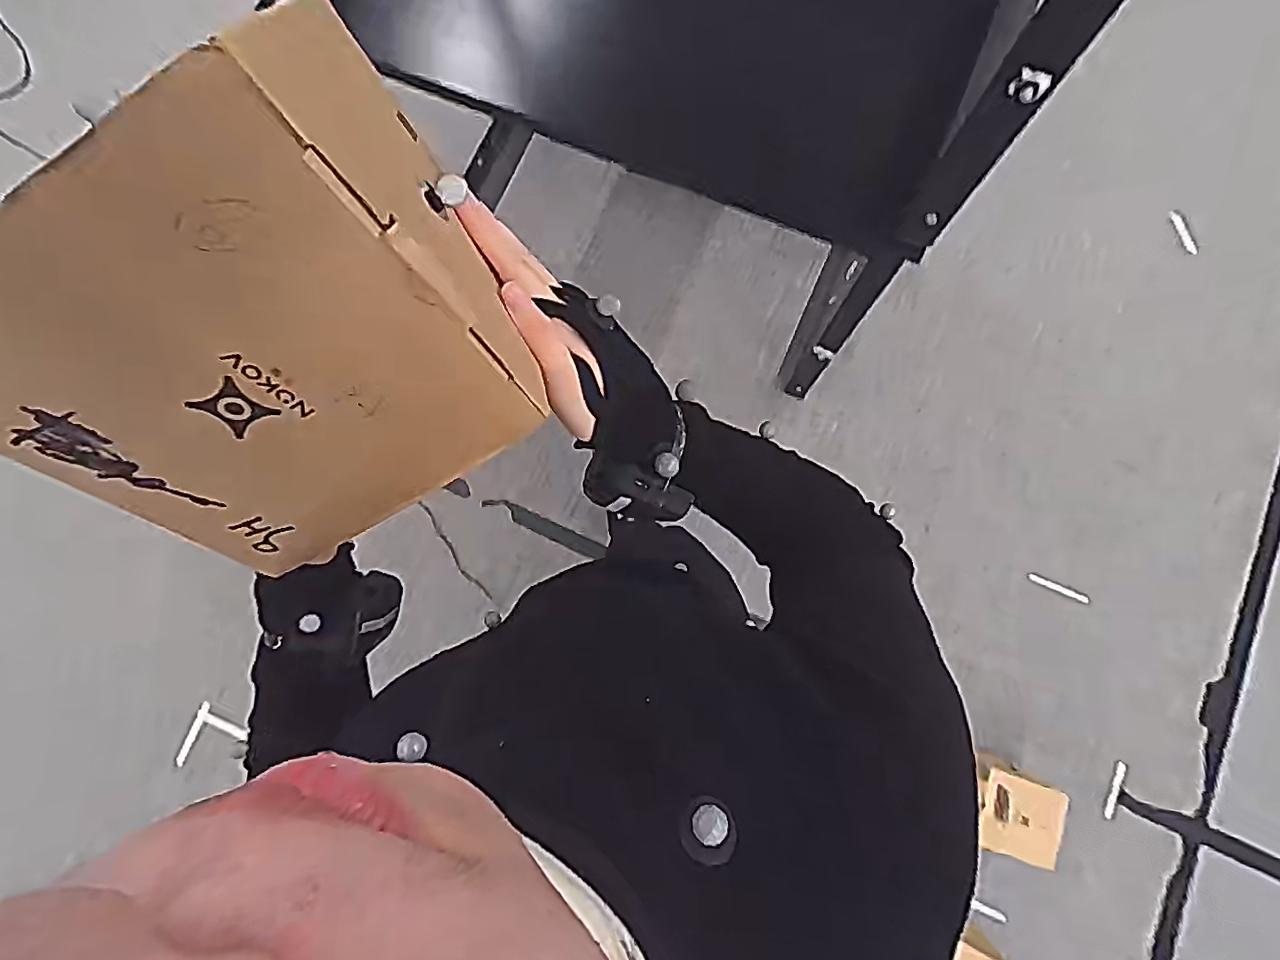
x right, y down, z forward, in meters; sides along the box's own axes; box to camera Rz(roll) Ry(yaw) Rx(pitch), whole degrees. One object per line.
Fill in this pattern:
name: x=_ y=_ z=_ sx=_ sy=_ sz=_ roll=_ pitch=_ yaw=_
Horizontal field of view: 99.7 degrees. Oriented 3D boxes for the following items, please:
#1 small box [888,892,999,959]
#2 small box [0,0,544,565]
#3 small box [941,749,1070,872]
small box: x=0.688 y=1.096 z=1.218 sx=0.168 sy=0.176 sz=0.179 roll=26 pitch=83 yaw=7
small box: x=-0.172 y=-0.096 z=0.257 sx=0.179 sy=0.168 sz=0.176 roll=-28 pitch=47 yaw=8
small box: x=0.837 y=0.754 z=1.257 sx=0.179 sy=0.176 sz=0.168 roll=18 pitch=83 yaw=5
